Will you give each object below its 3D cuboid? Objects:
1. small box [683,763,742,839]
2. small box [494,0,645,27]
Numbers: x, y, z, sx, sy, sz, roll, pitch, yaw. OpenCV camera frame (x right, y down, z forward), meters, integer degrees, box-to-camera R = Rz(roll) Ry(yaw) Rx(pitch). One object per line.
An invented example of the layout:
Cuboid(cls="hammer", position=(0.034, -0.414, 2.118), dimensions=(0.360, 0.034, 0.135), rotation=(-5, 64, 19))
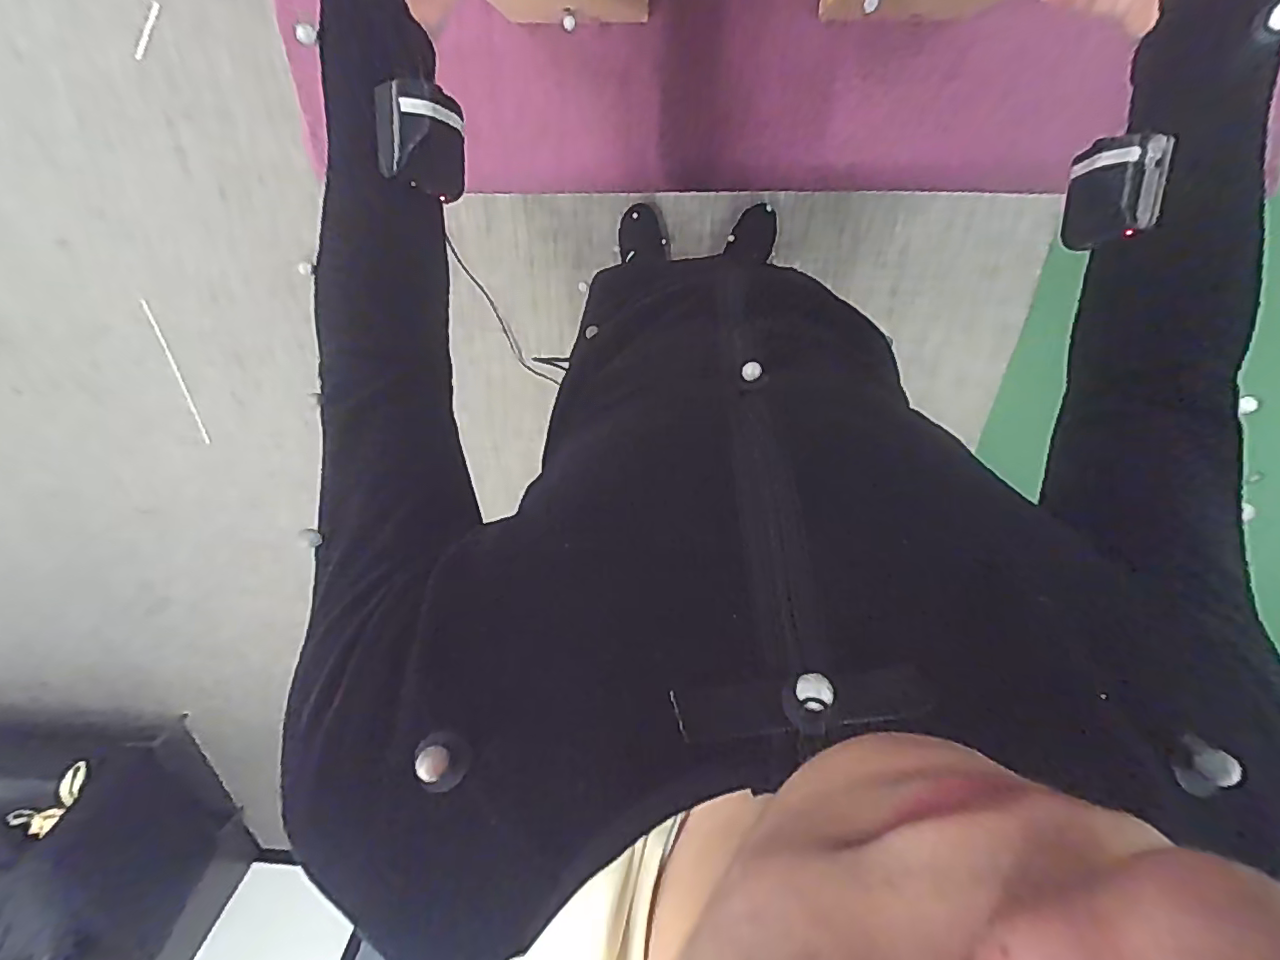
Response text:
Cuboid(cls="small box", position=(0.252, 1.136, 1.920), dimensions=(0.179, 0.176, 0.168), rotation=(9, 121, -1))
Cuboid(cls="small box", position=(-0.080, -0.568, 0.519), dimensions=(0.168, 0.176, 0.179), rotation=(3, 120, 4))
